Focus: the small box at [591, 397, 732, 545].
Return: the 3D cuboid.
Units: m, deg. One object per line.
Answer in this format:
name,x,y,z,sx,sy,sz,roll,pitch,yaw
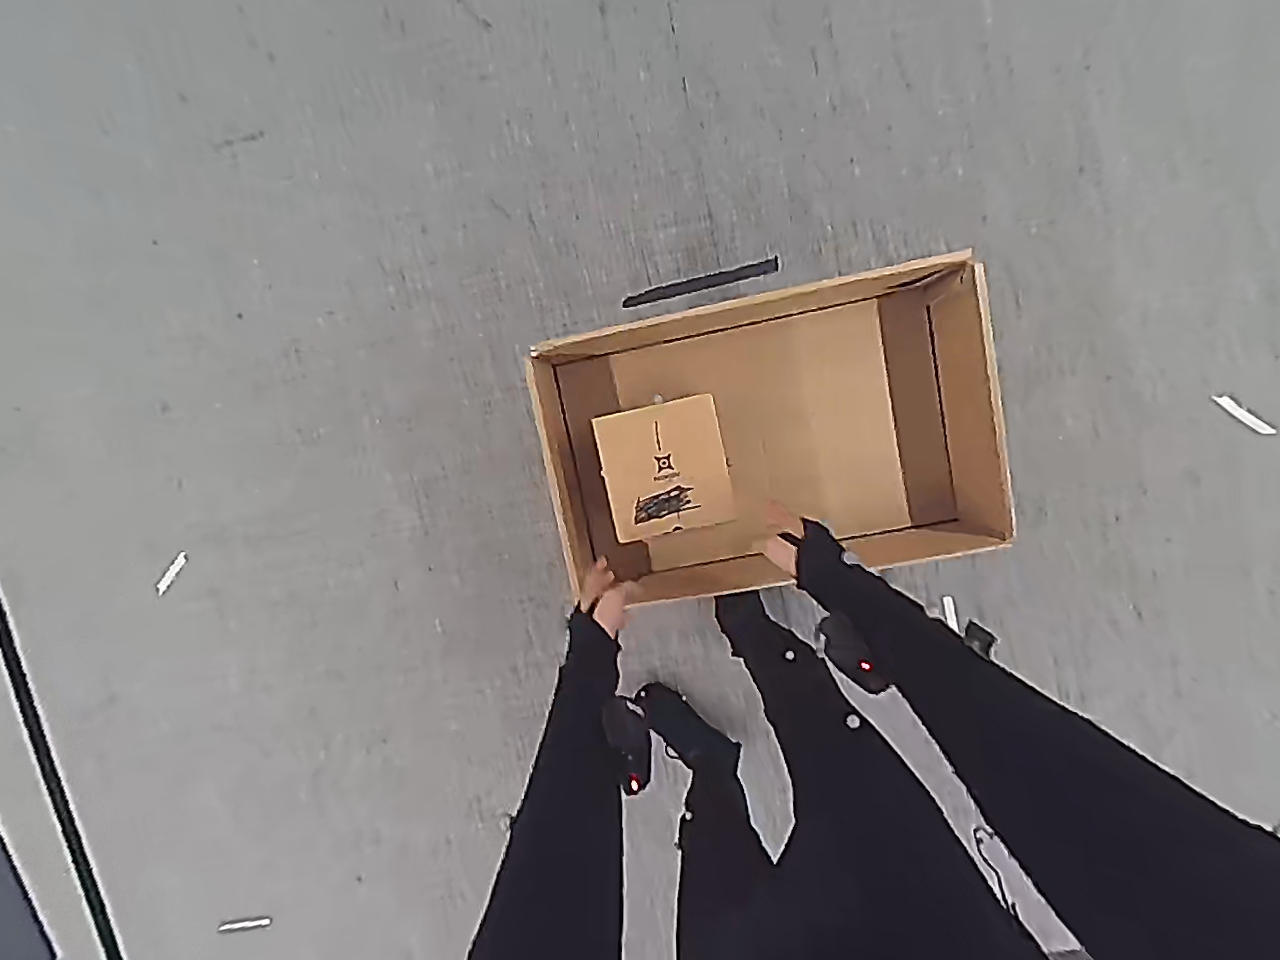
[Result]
small box,0.037,-0.019,0.800,0.168,0.176,0.179,-12,94,6
